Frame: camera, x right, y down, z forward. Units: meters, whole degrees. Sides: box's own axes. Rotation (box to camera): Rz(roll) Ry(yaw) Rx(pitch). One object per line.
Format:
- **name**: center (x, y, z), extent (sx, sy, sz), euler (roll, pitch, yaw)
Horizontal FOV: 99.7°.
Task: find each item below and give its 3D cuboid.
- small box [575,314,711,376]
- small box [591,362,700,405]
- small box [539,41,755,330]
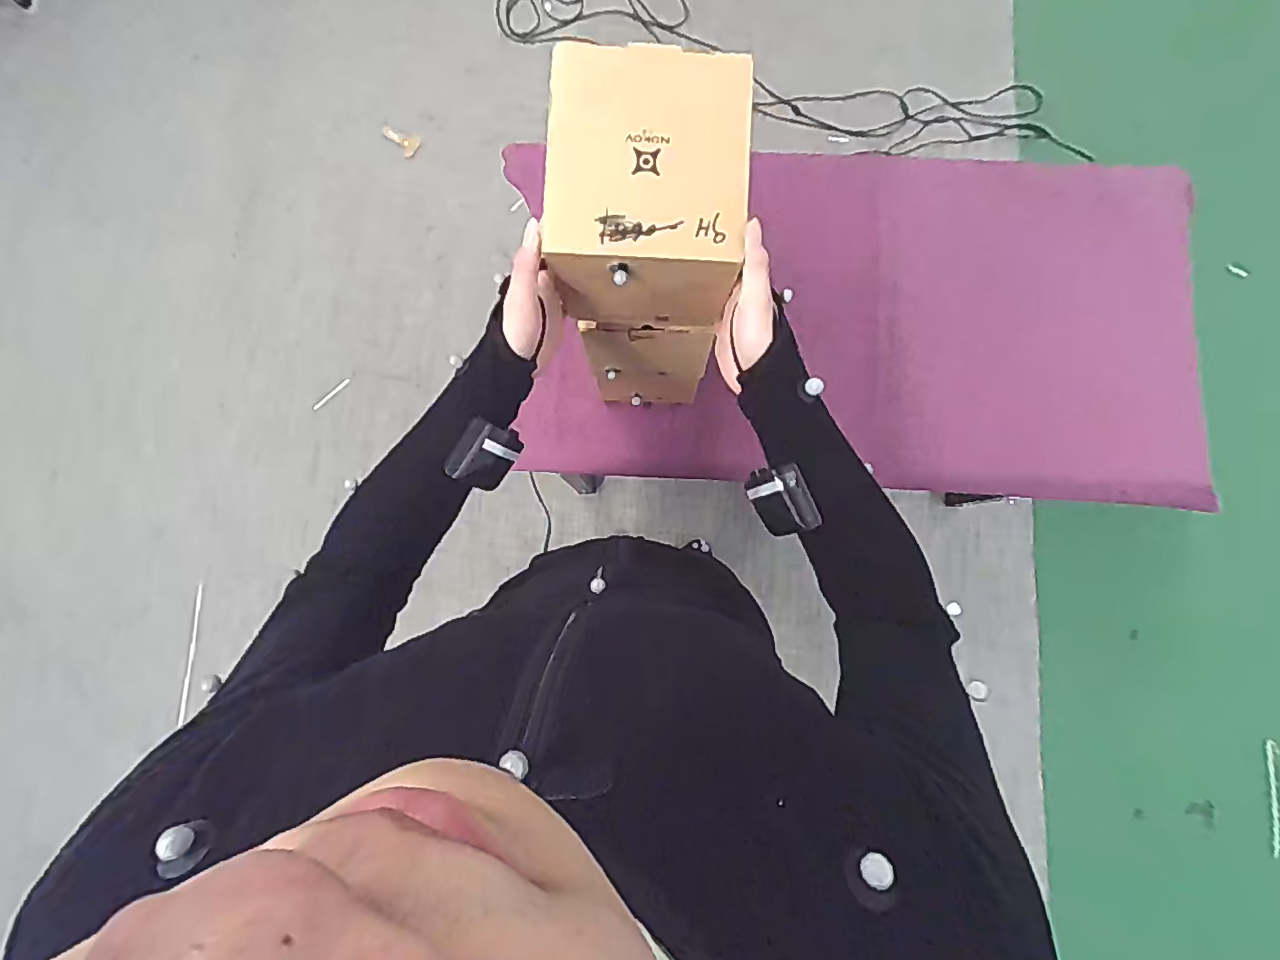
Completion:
- **small box**: center (0.009, -0.248, 0.727), extent (0.168, 0.176, 0.179), euler (1, 81, 1)
- **small box**: center (0.011, -0.234, 0.891), extent (0.168, 0.176, 0.179), euler (1, 83, 1)
- **small box**: center (0.006, -0.259, 0.512), extent (0.168, 0.176, 0.179), euler (4, 88, 1)
